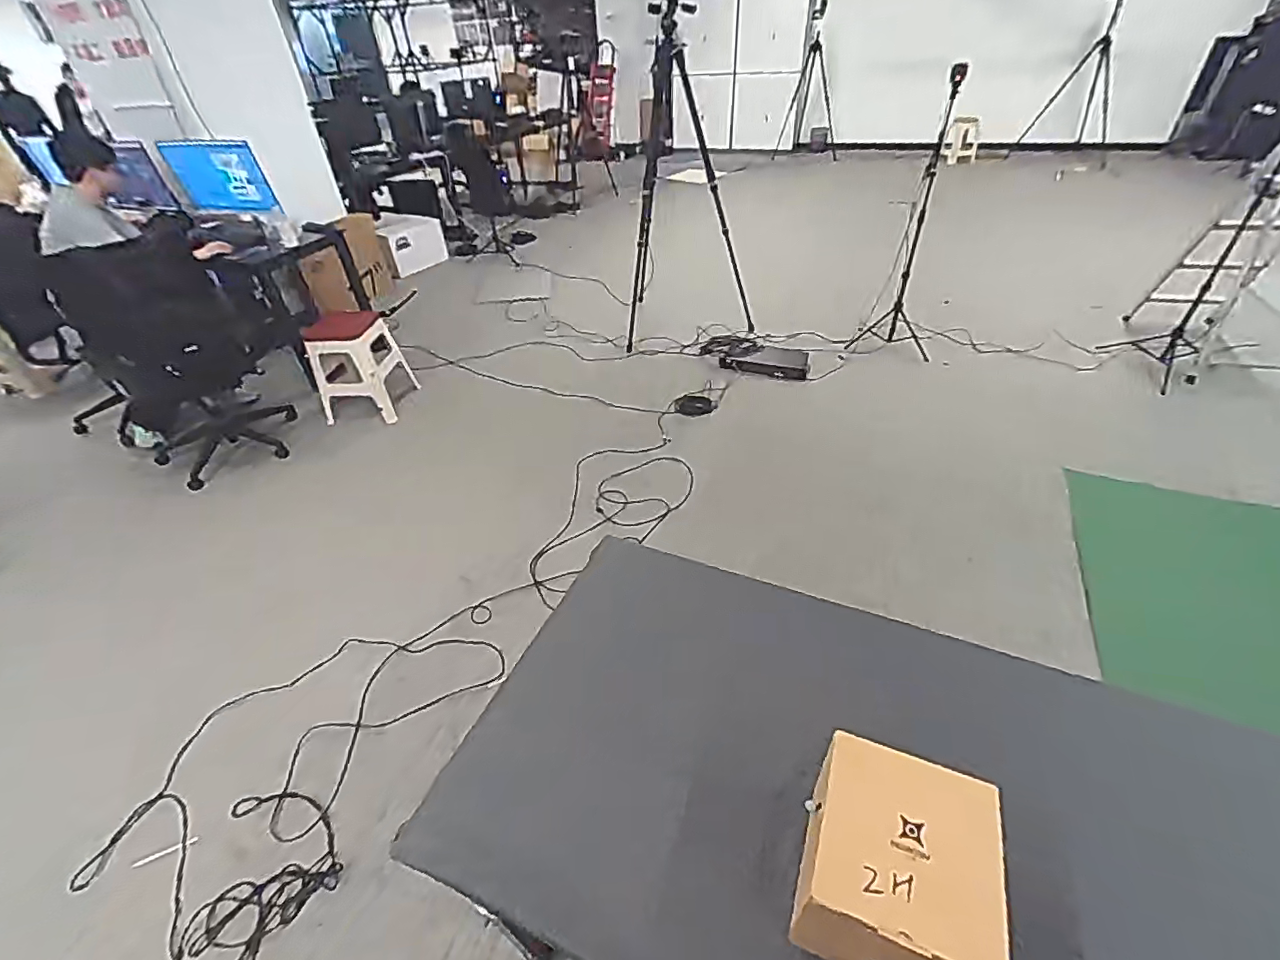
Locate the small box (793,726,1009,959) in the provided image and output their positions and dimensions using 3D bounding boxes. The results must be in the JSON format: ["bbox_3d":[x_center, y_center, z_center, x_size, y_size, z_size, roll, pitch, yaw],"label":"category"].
[{"bbox_3d":[0.269,0.411,0.582,0.168,0.176,0.179,13,42,20],"label":"small box"}]
